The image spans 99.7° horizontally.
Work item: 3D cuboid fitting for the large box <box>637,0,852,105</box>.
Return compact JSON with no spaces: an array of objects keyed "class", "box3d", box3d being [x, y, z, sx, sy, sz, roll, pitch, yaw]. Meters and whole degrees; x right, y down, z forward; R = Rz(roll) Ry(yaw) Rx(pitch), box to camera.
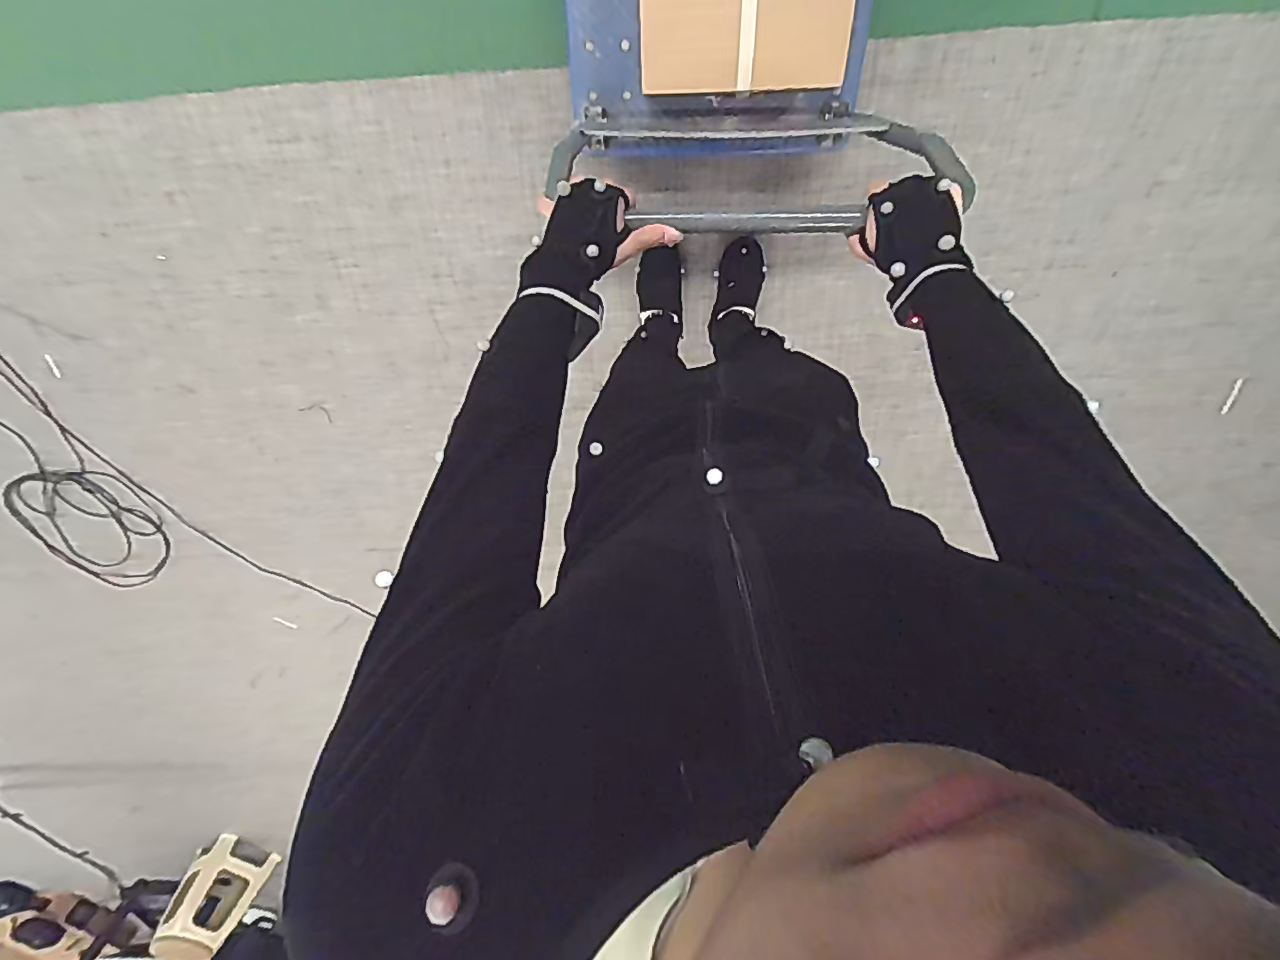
[{"class":"large box","box3d":[0.156,-0.852,0.862,0.320,0.320,0.408,0,124,2]}]
